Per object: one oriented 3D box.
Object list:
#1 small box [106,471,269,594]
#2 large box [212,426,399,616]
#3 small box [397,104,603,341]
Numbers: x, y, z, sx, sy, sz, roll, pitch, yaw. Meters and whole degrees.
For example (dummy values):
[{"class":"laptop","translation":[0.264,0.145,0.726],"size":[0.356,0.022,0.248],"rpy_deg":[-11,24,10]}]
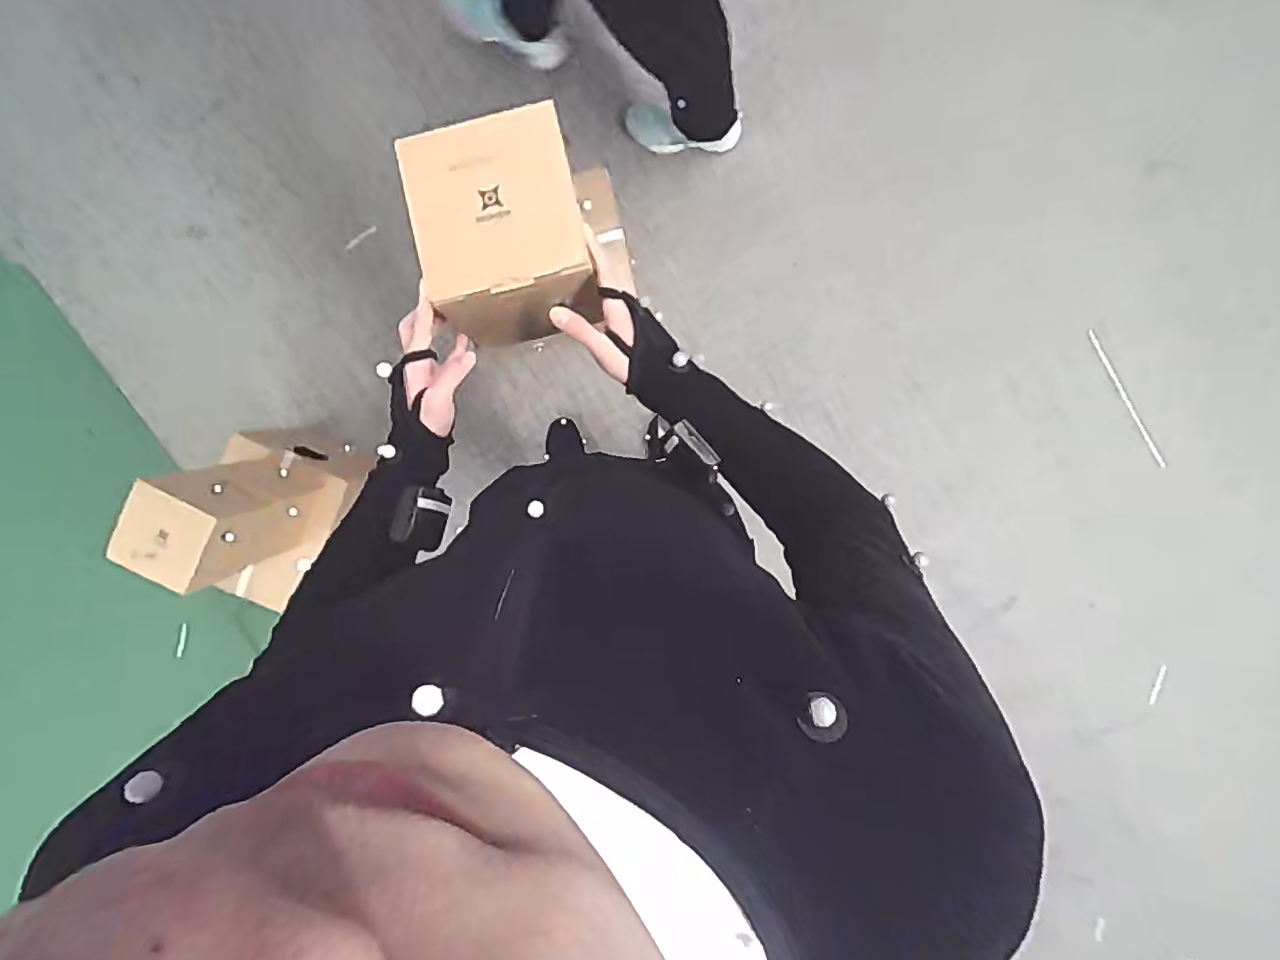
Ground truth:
[{"class":"small box","translation":[-0.907,0.096,1.104],"size":[0.168,0.176,0.179],"rpy_deg":[28,98,-3]},{"class":"large box","translation":[-0.943,0.095,1.520],"size":[0.320,0.320,0.408],"rpy_deg":[24,99,-1]},{"class":"small box","translation":[-0.143,-0.270,0.615],"size":[0.168,0.176,0.179],"rpy_deg":[-13,87,1]}]
